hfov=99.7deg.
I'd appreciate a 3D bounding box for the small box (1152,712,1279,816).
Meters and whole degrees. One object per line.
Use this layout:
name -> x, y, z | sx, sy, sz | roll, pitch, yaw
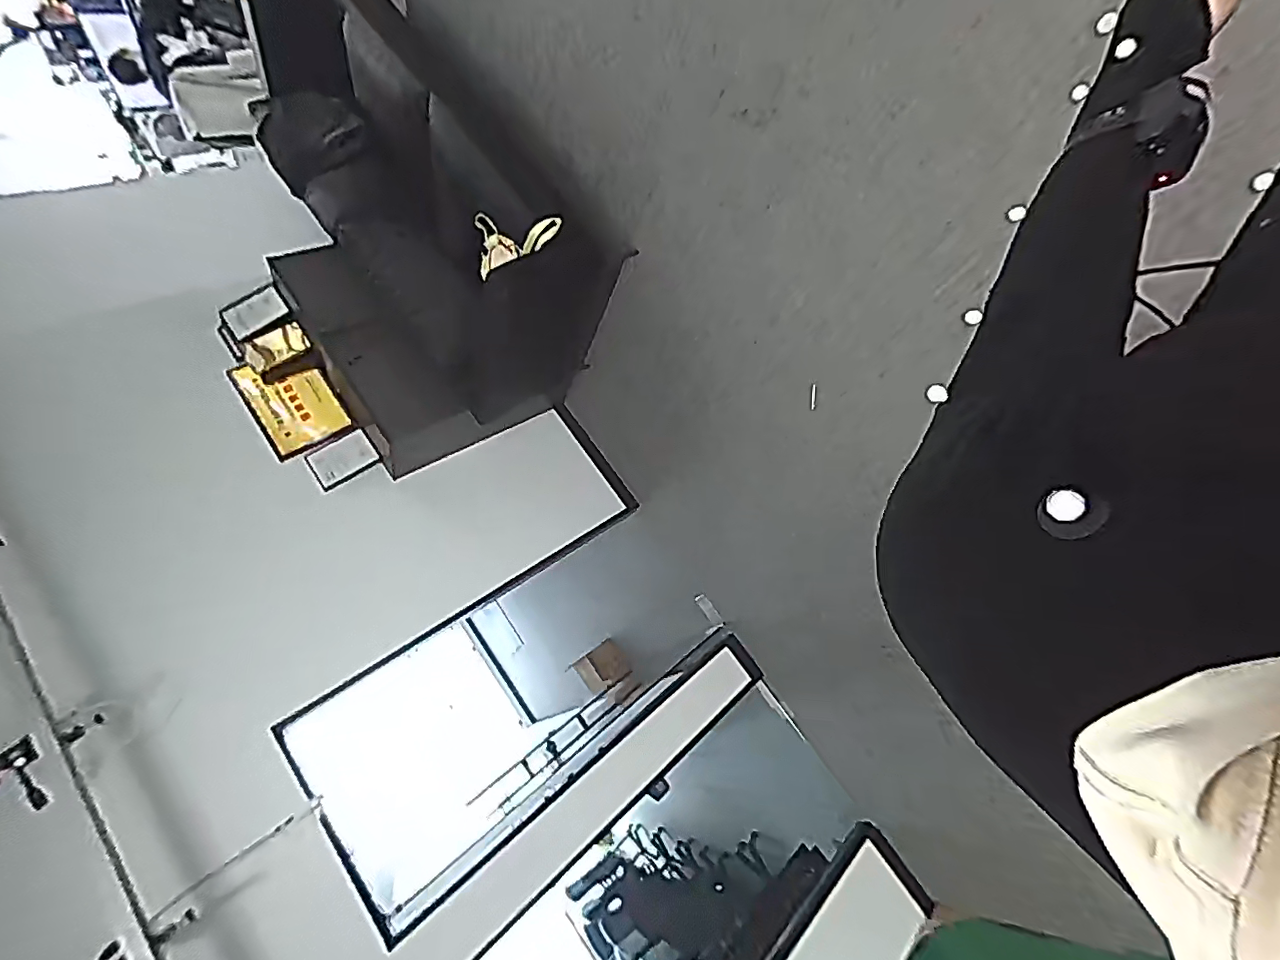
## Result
small box -> 1.492, 0.724, 1.391 | 0.168, 0.176, 0.179 | 53, 148, 11
